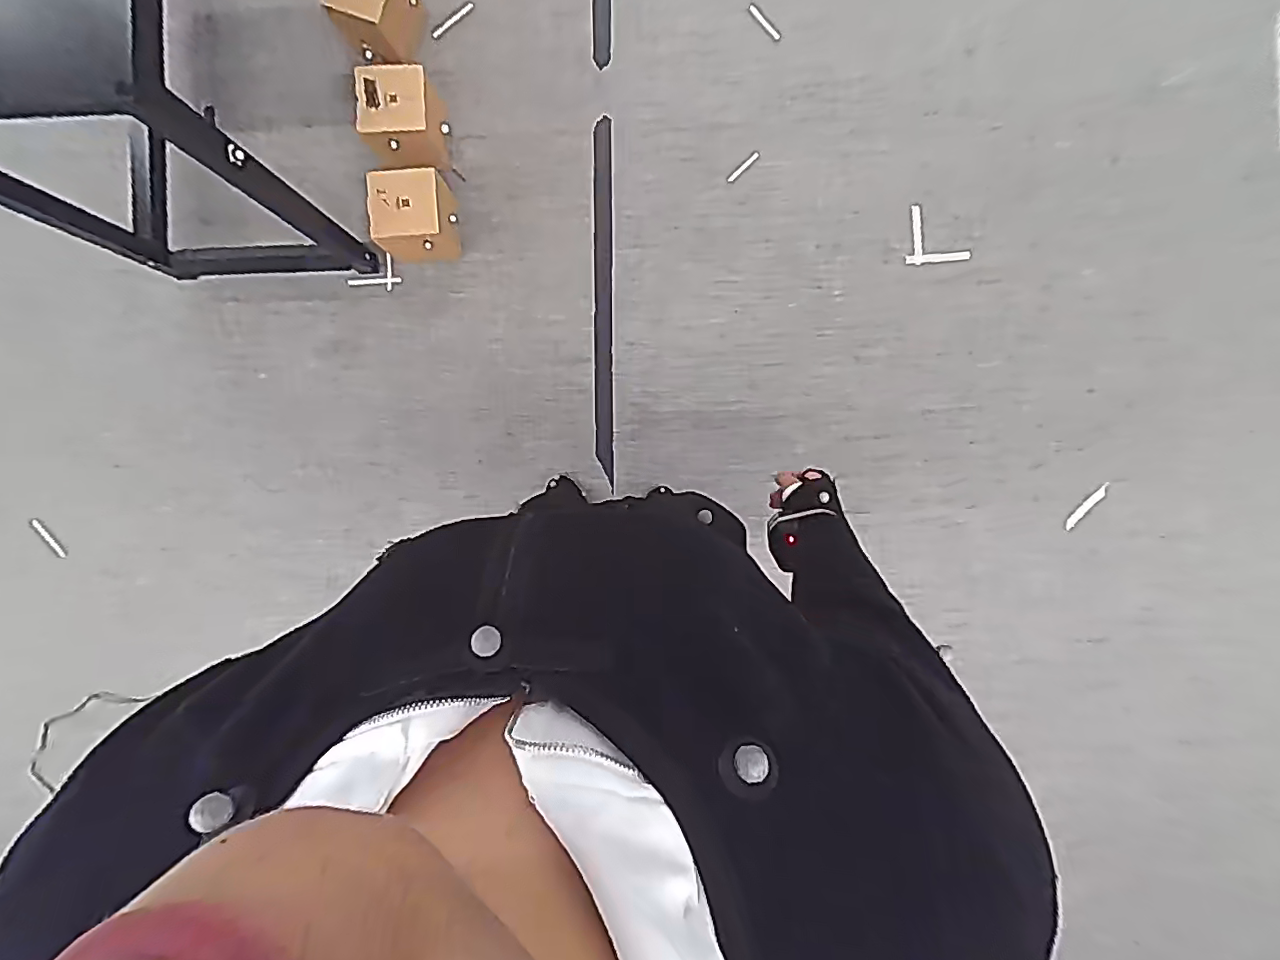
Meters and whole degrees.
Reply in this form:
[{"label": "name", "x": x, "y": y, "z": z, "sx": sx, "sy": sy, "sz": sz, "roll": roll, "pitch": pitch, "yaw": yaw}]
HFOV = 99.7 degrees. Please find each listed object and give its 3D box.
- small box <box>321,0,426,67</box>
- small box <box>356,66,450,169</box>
[{"label": "small box", "x": -0.691, "y": -1.241, "z": 1.426, "sx": 0.168, "sy": 0.176, "sz": 0.179, "roll": 20, "pitch": 92, "yaw": 2}, {"label": "small box", "x": -0.620, "y": -0.948, "z": 1.426, "sx": 0.179, "sy": 0.176, "sz": 0.168, "roll": -2, "pitch": 91, "yaw": 0}]
